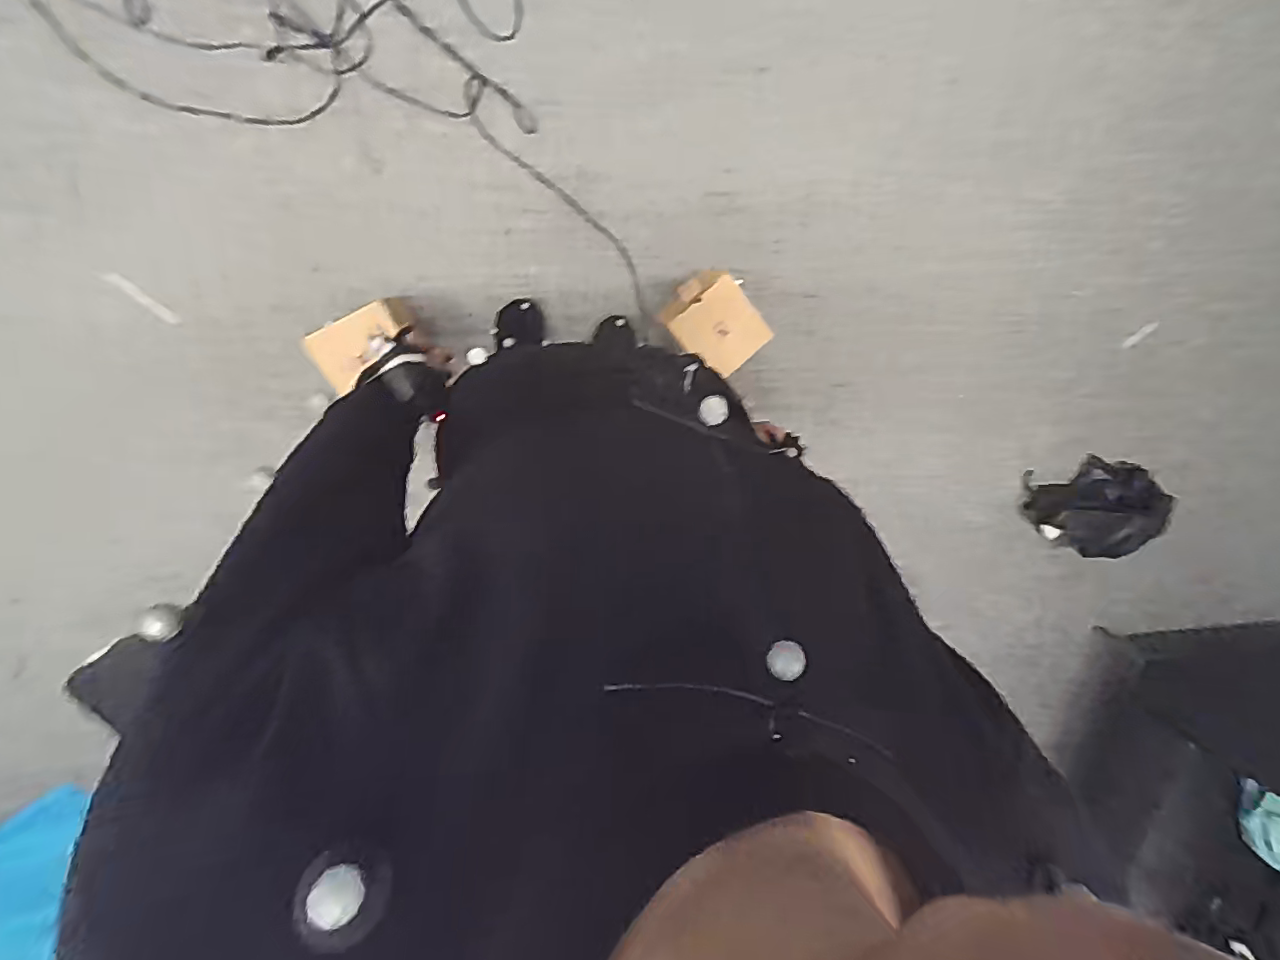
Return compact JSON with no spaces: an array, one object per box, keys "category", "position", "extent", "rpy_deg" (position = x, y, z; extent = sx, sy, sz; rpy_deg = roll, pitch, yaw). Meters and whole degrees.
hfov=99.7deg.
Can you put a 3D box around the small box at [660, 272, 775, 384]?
[{"category":"small box","position":[0.168,-0.348,1.216],"extent":[0.168,0.176,0.179],"rpy_deg":[-41,111,8]}]
